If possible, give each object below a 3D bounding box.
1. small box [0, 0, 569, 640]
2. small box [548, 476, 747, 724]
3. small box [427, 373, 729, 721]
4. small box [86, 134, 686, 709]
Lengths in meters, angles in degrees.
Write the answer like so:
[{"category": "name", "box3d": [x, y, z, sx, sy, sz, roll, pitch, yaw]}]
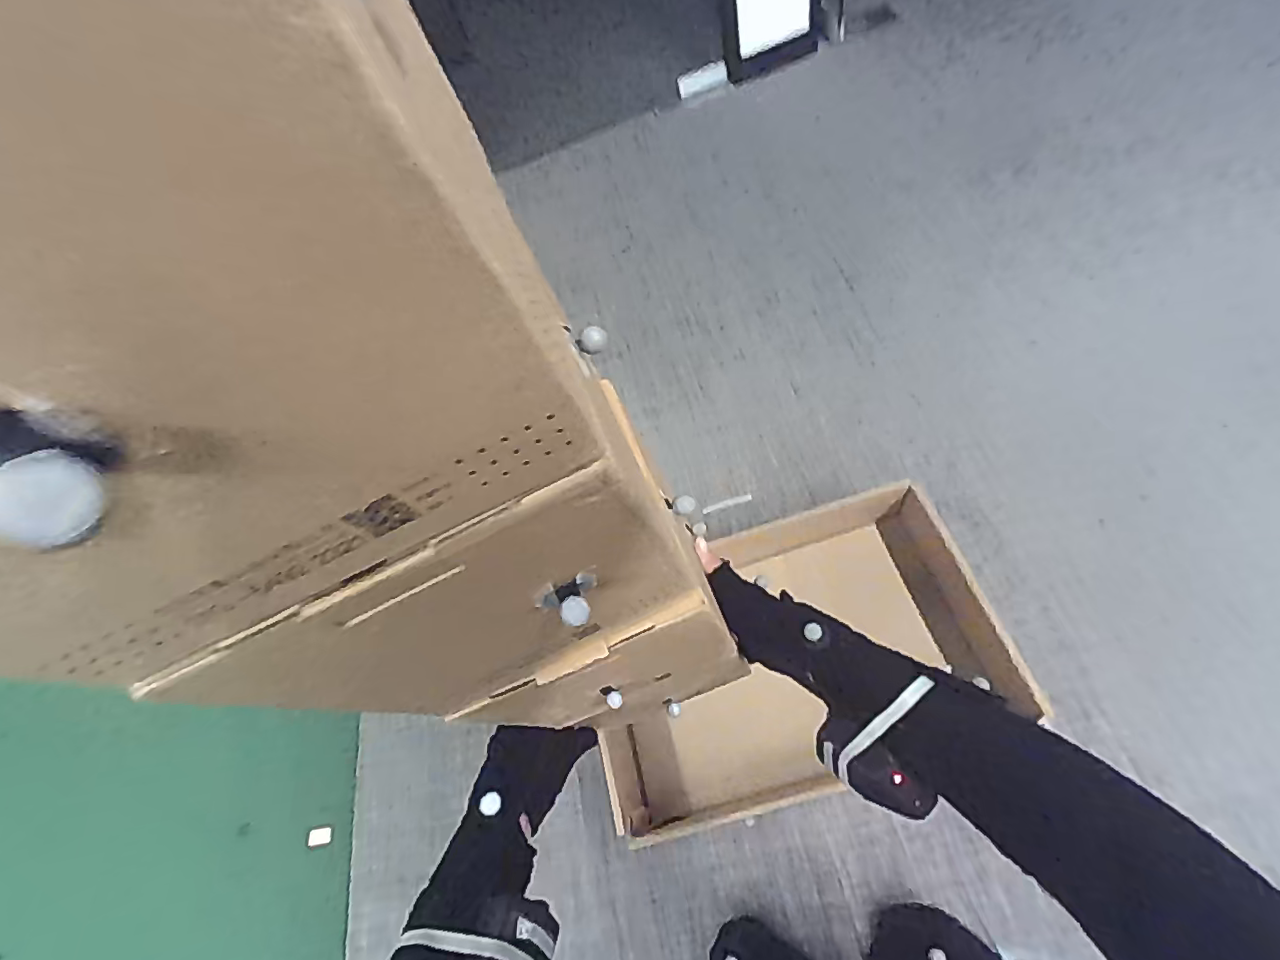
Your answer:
[{"category": "small box", "box3d": [-0.133, -0.079, 0.115, 0.168, 0.176, 0.179, -25, 63, 2]}, {"category": "small box", "box3d": [-0.005, 0.129, 0.540, 0.168, 0.176, 0.179, -23, 62, 5]}, {"category": "small box", "box3d": [-0.047, 0.062, 0.398, 0.168, 0.176, 0.179, -24, 62, 4]}, {"category": "small box", "box3d": [-0.092, -0.008, 0.257, 0.168, 0.176, 0.179, -25, 61, 3]}]
